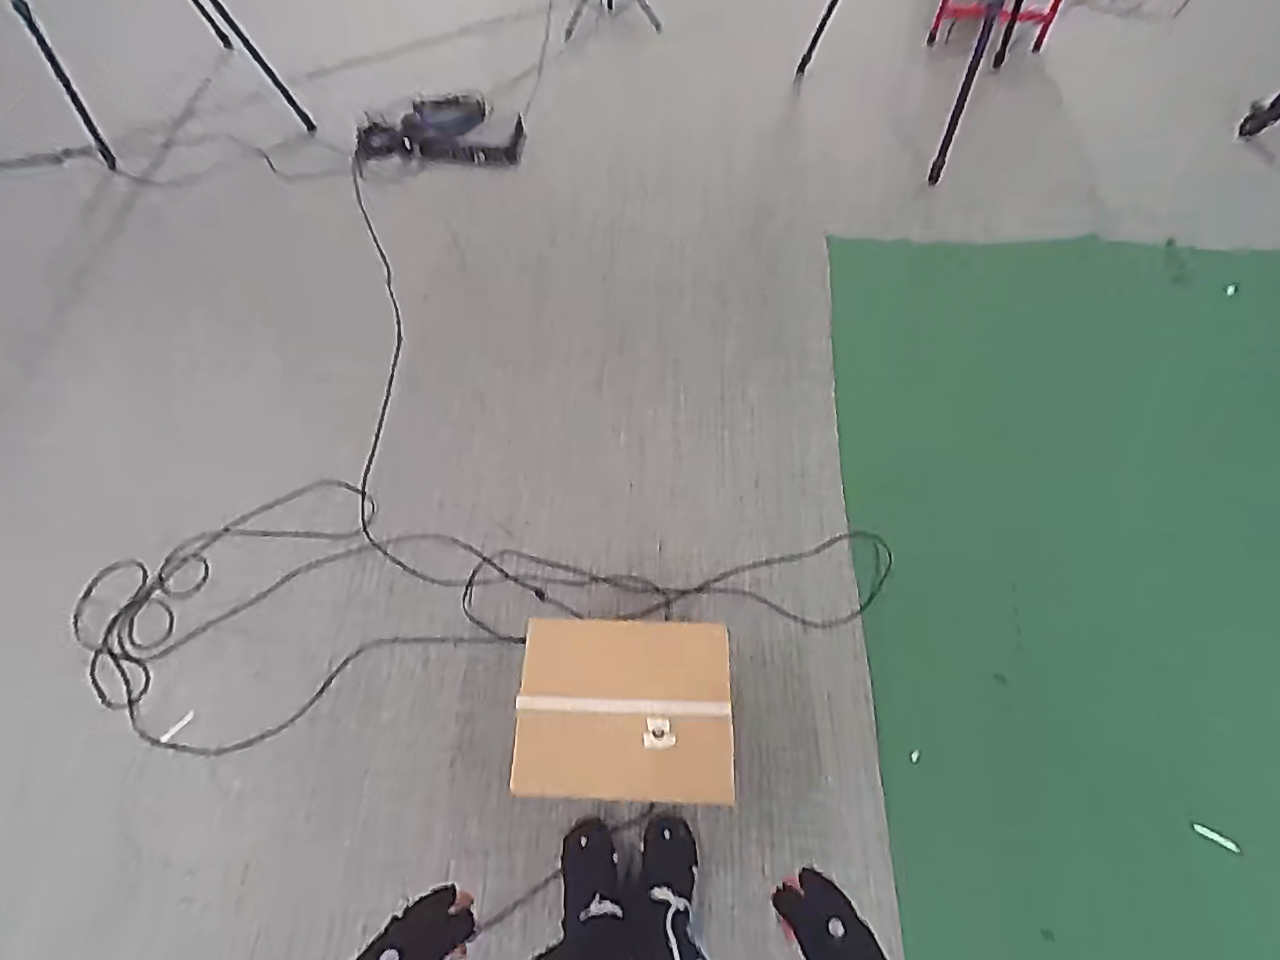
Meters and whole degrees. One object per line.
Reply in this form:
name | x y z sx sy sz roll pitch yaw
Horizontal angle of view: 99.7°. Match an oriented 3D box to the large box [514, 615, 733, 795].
large box | -0.026 0.477 1.160 0.408 0.320 0.320 1 67 2
